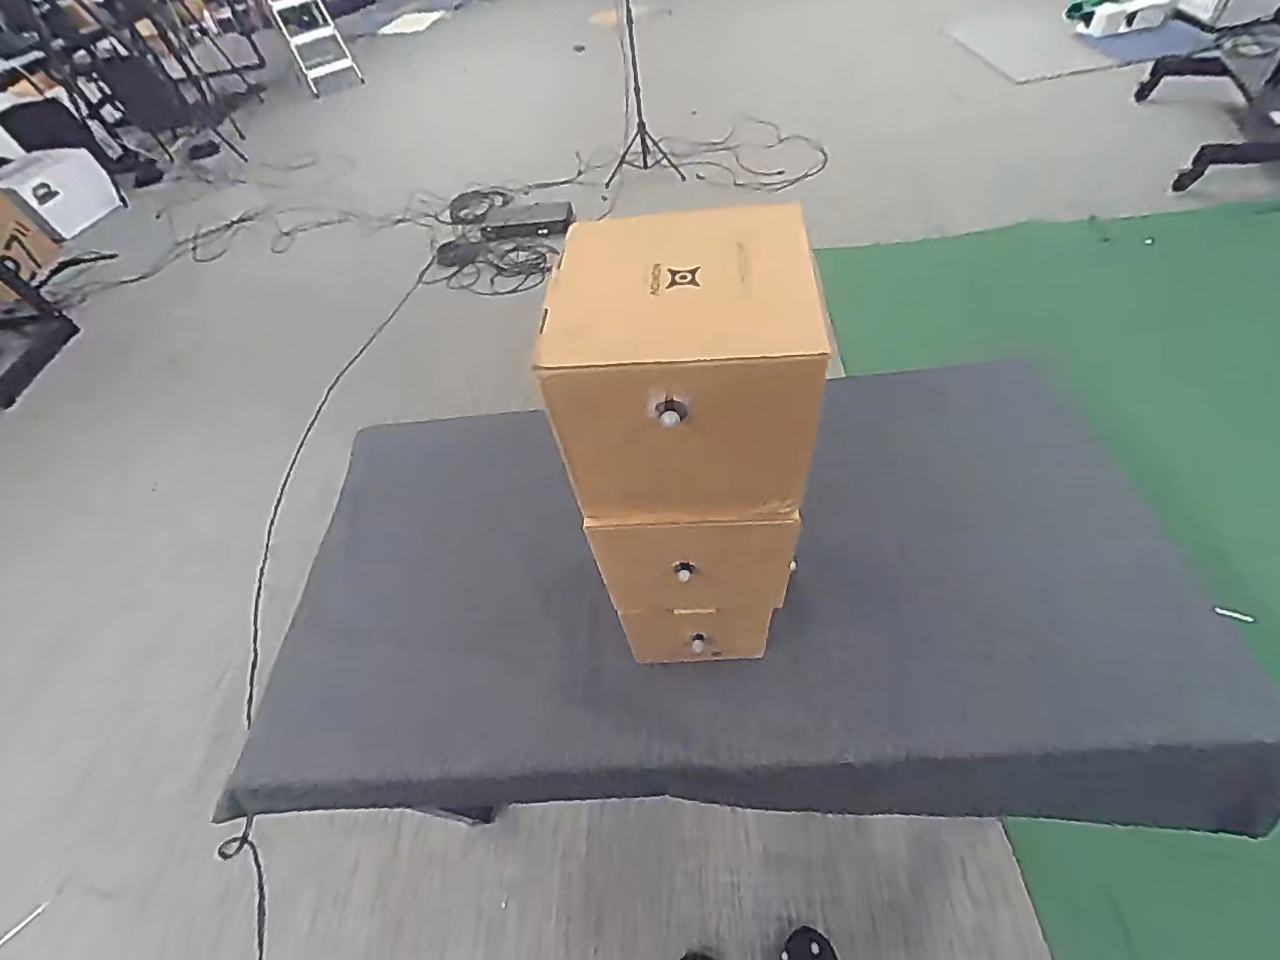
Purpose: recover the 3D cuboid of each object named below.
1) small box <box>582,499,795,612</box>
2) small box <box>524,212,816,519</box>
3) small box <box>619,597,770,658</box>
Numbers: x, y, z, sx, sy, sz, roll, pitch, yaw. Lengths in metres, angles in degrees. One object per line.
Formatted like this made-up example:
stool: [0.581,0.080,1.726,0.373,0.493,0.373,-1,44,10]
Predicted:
small box: [0.051,0.023,0.547,0.179,0.176,0.168,-4,52,8]
small box: [0.030,-0.080,0.424,0.179,0.176,0.168,-2,54,8]
small box: [0.068,0.116,0.682,0.168,0.176,0.179,-6,53,6]
